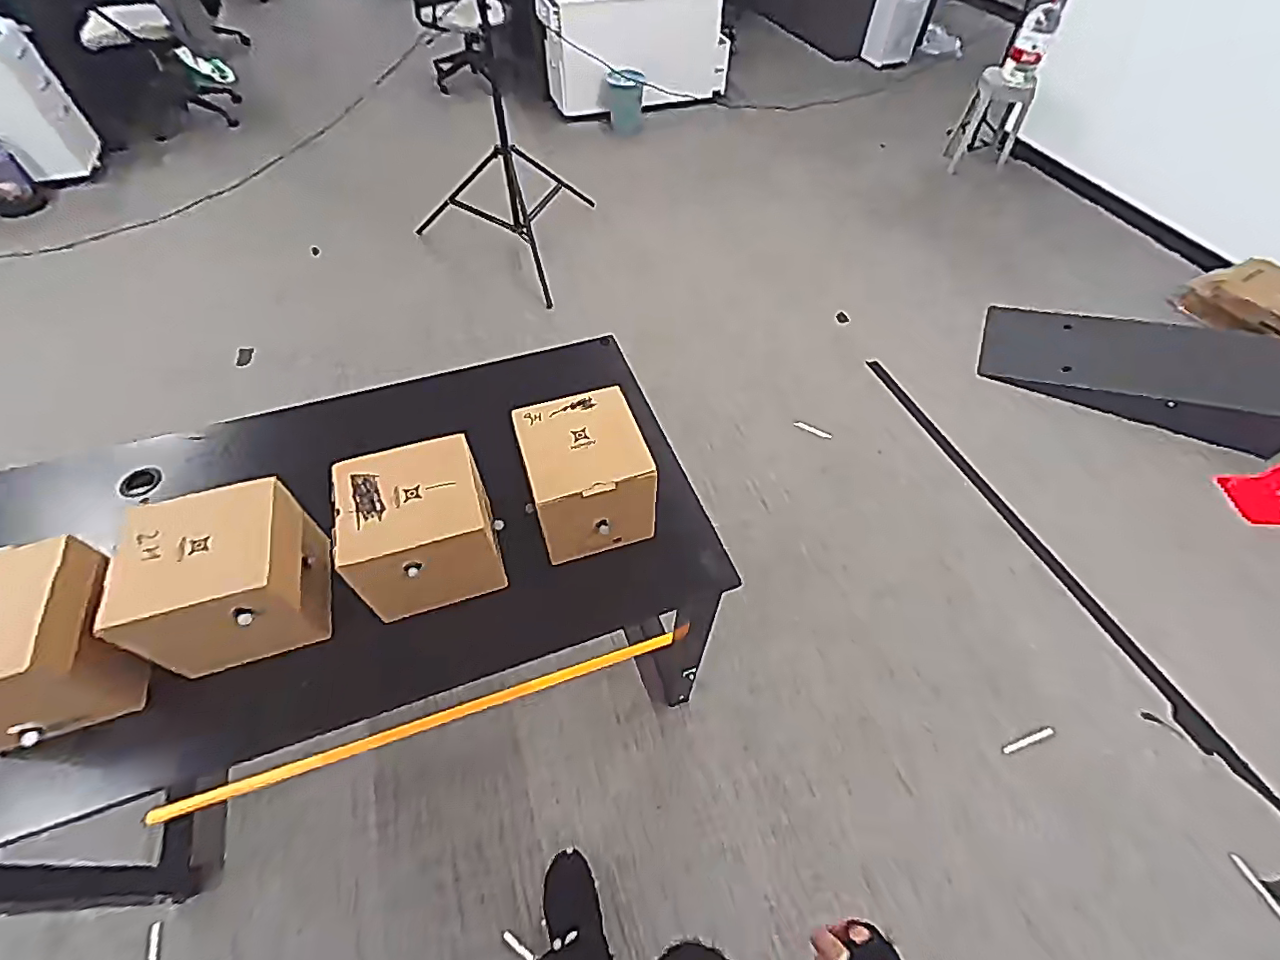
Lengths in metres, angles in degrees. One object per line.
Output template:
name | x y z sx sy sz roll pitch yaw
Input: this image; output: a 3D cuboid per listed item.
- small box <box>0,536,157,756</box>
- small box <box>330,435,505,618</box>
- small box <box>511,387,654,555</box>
small box | -0.729 0.199 0.644 0.168 0.176 0.179 -17 57 -12
small box | -0.300 0.068 0.747 0.179 0.176 0.168 -15 55 -13
small box | -0.083 -0.006 0.805 0.168 0.176 0.179 -14 56 -12
